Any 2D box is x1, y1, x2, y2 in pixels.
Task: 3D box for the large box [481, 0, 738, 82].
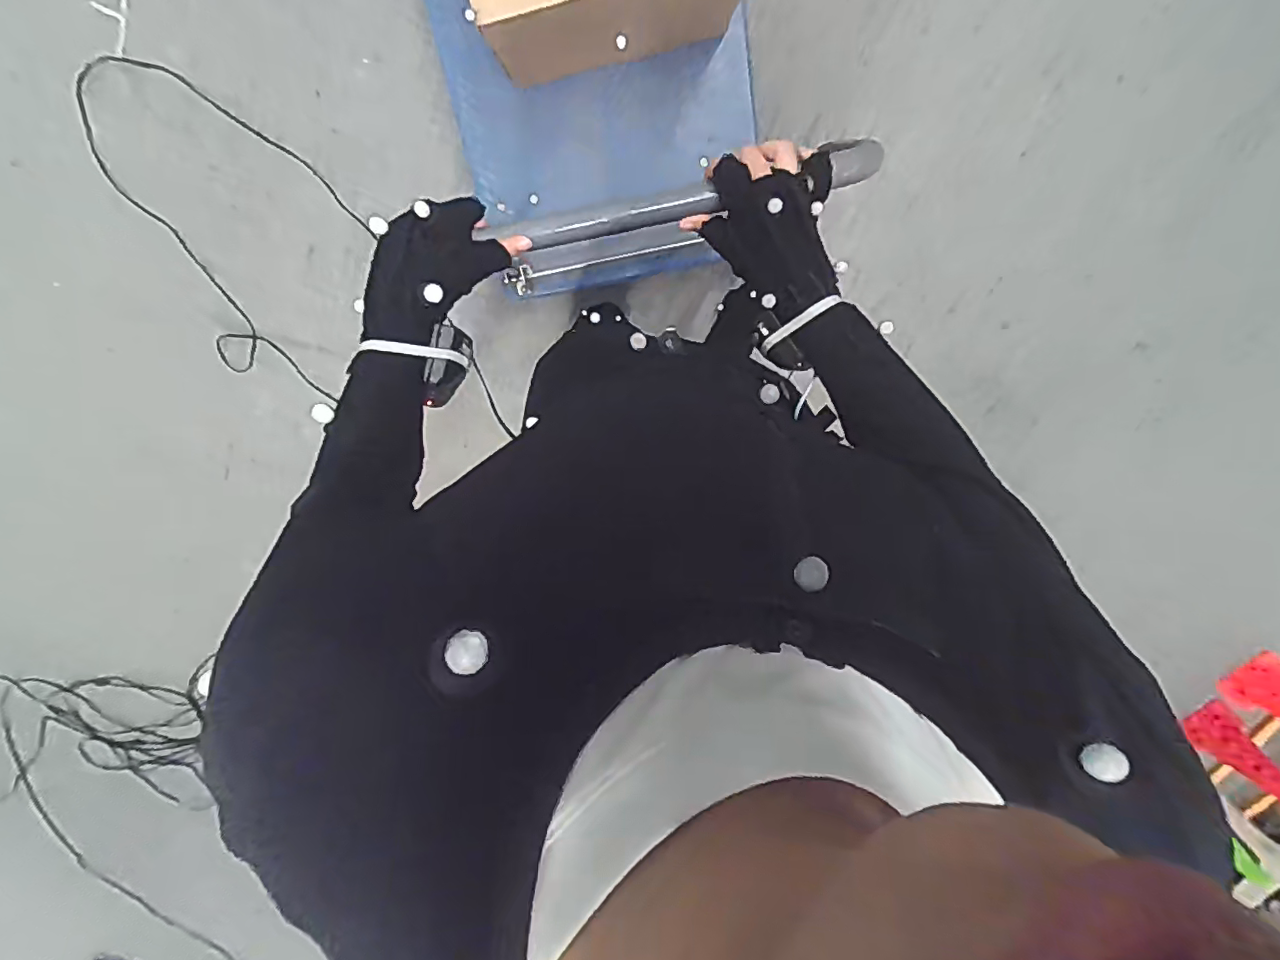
[{"bbox_3d":[-0.059,-0.883,0.831,0.408,0.320,0.320,-12,111,5],"label":"large box"}]
